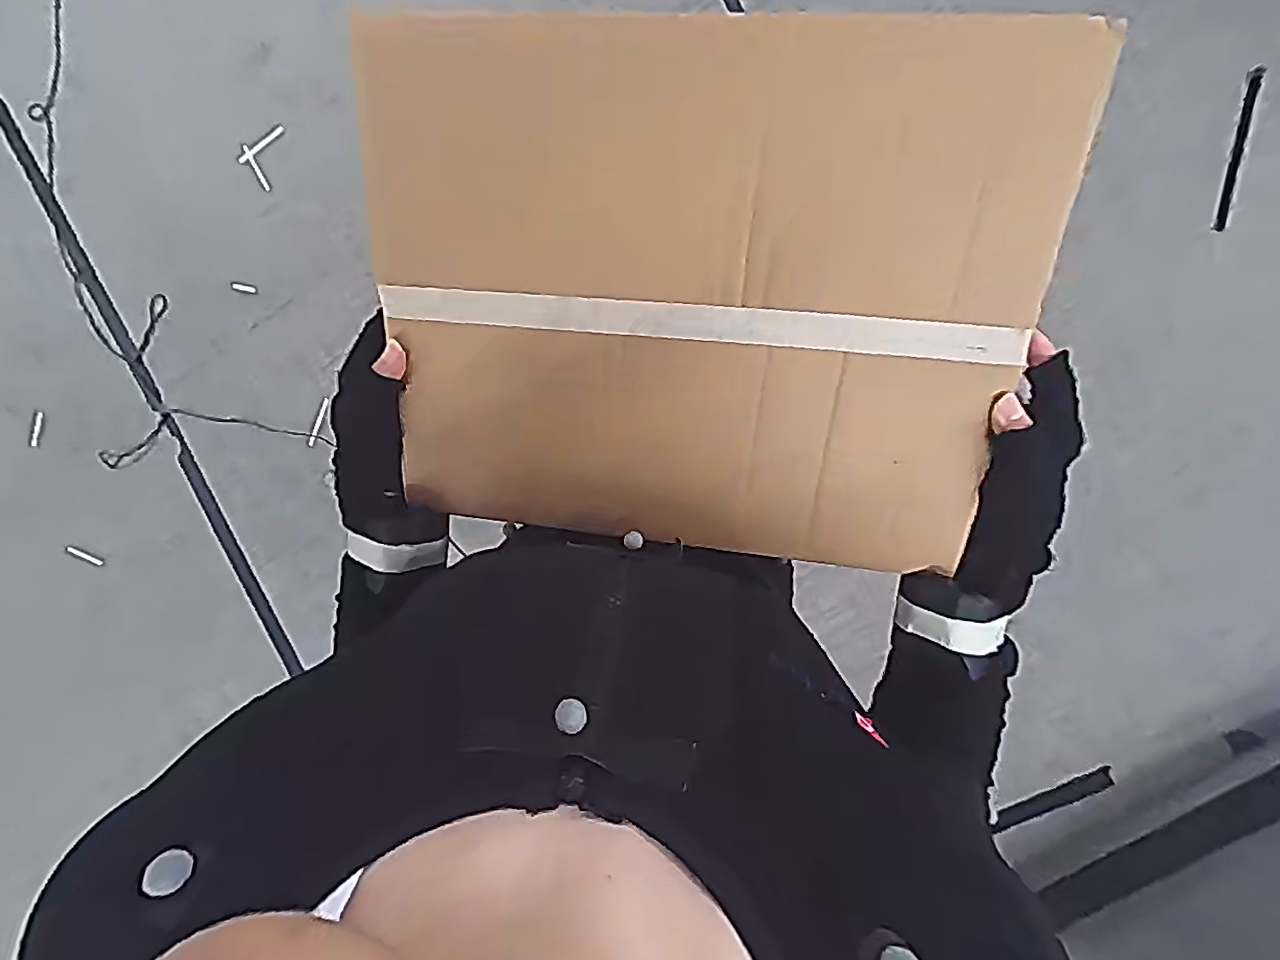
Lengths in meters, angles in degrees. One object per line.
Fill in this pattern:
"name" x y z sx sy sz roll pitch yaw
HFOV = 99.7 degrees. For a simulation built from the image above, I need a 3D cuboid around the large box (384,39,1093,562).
"large box" 0.053 -0.154 0.494 0.408 0.320 0.320 7 113 7
